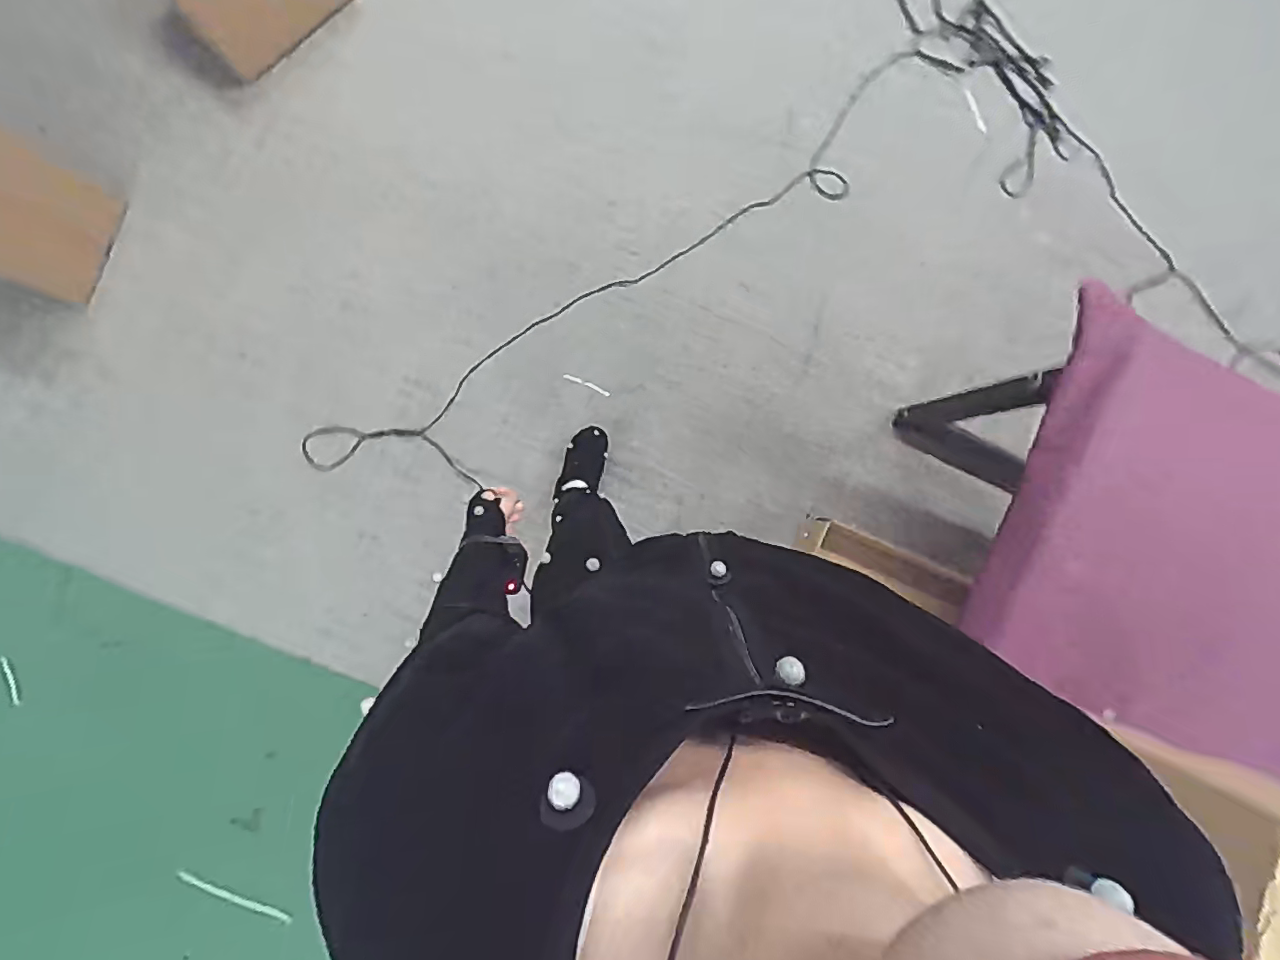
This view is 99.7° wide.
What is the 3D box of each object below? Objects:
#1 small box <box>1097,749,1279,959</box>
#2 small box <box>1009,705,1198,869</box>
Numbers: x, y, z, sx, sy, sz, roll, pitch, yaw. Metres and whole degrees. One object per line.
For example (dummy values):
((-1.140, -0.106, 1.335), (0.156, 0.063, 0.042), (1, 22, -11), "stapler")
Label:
((0.641, 0.409, 0.560), (0.179, 0.176, 0.168), (15, 87, -3), "small box")
((0.650, 0.428, 0.726), (0.179, 0.176, 0.168), (21, 88, -3), "small box")
